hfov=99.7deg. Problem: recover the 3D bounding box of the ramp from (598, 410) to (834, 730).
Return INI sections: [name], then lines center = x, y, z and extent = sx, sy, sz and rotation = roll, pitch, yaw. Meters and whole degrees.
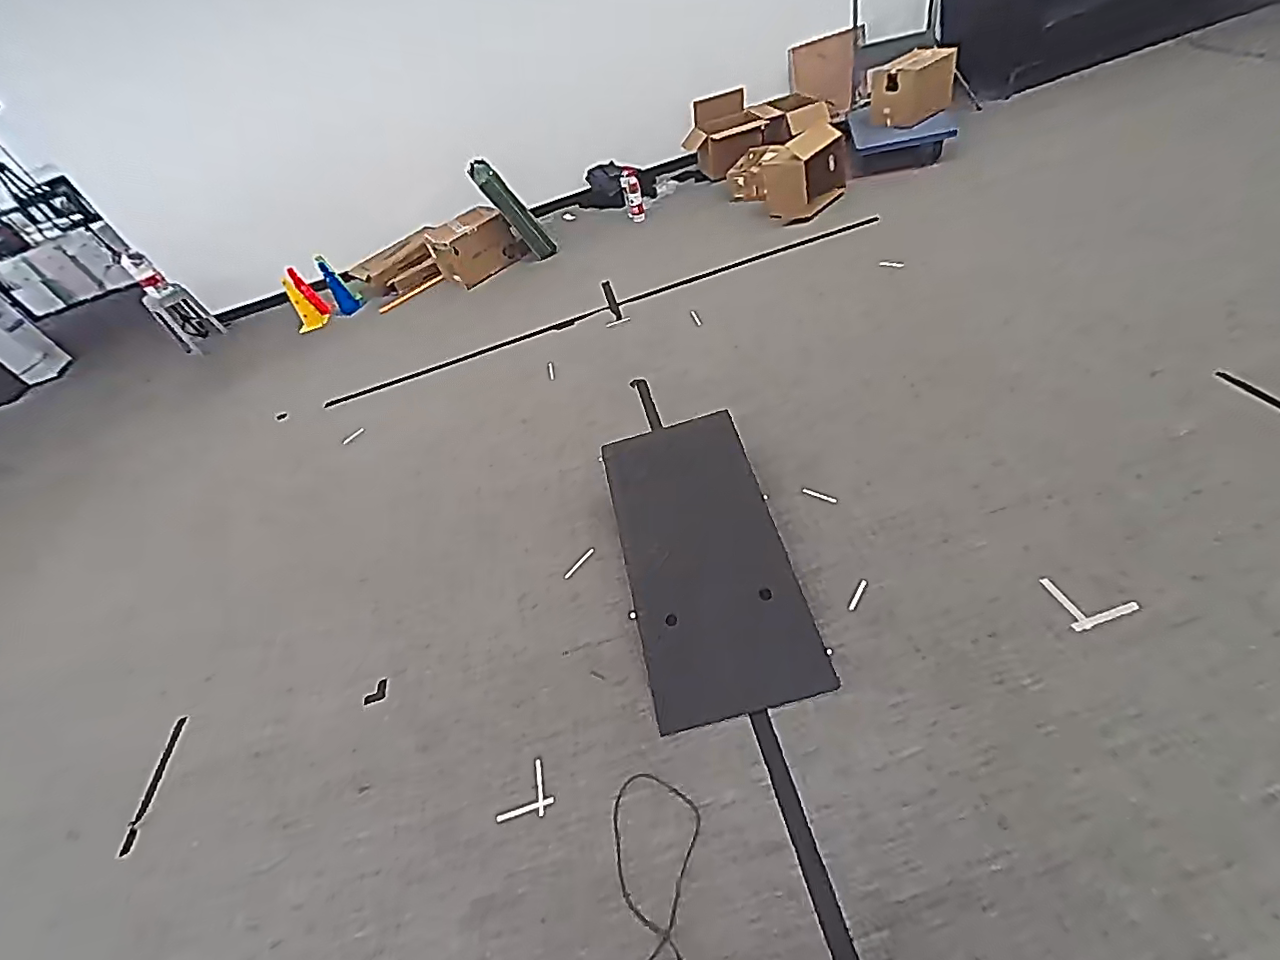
[ramp]
center = 0.182, 0.208, 1.709
extent = 0.509, 0.206, 0.991
rotation = -17, 45, 1
